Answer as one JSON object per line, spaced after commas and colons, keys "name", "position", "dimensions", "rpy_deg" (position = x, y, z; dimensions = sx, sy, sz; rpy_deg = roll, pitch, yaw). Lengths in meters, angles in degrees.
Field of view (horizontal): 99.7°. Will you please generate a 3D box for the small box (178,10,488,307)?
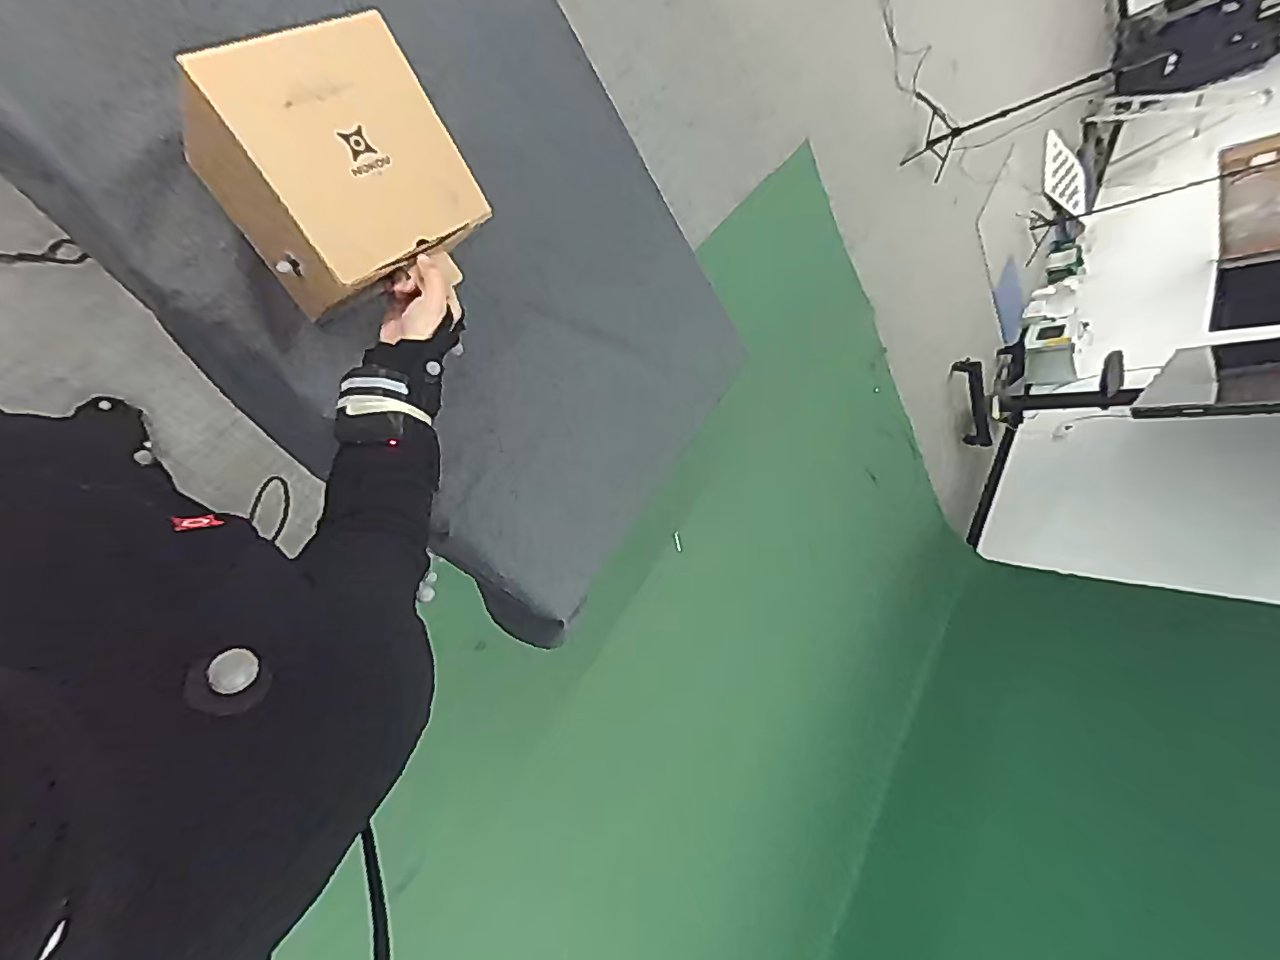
{"name": "small box", "position": [-0.285, -0.282, 0.512], "dimensions": [0.168, 0.176, 0.179], "rpy_deg": [-45, 118, -30]}
